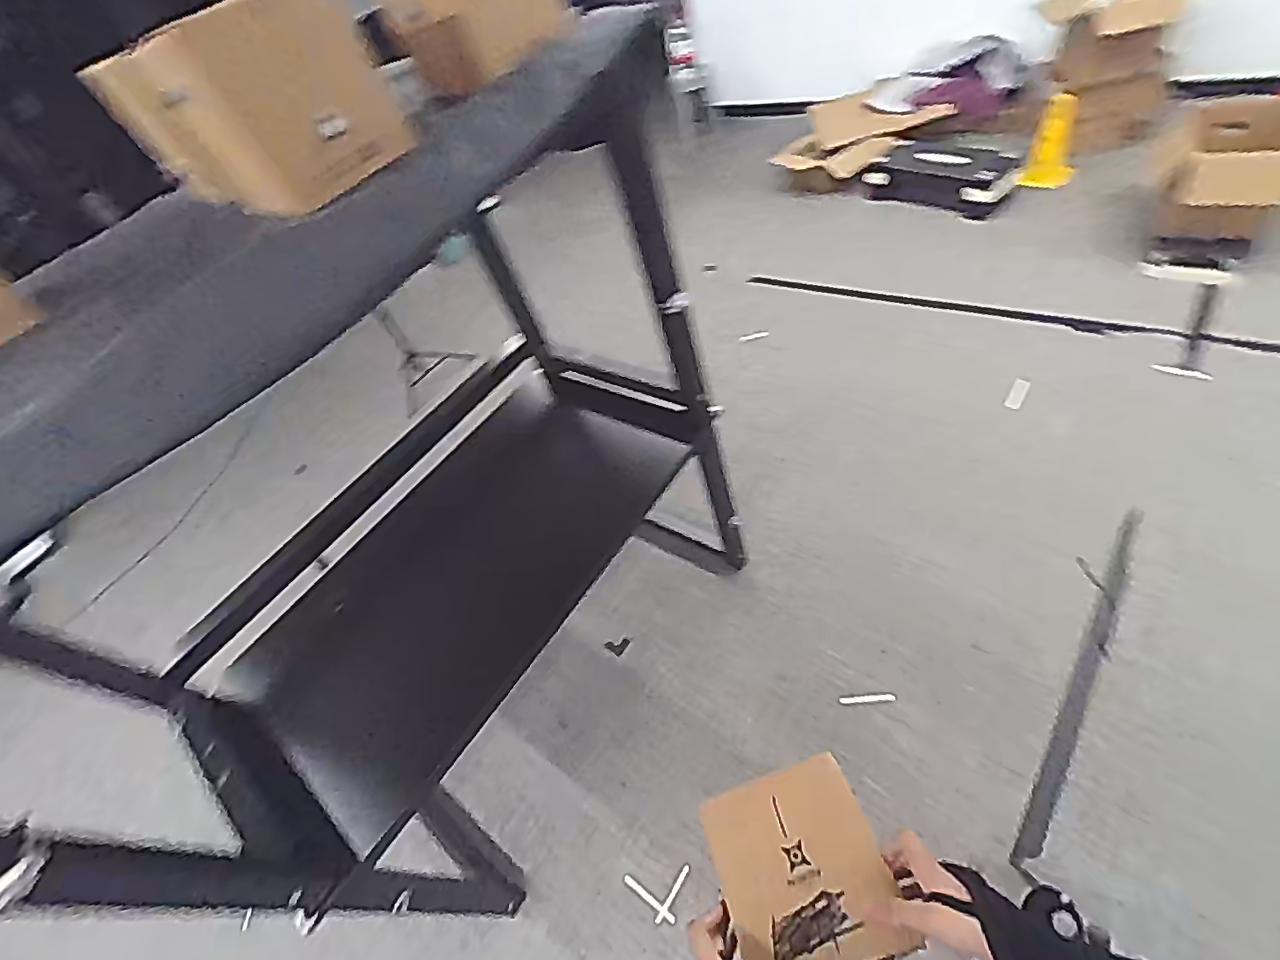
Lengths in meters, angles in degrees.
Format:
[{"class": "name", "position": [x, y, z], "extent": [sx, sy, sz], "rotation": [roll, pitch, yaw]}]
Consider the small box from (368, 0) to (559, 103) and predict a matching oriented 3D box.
[{"class": "small box", "position": [-0.244, -0.635, 0.729], "extent": [0.179, 0.176, 0.168], "rotation": [26, 65, 35]}]

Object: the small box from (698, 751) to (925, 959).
[{"class": "small box", "position": [0.180, 0.436, 0.600], "extent": [0.168, 0.176, 0.179], "rotation": [-20, 47, 0]}]

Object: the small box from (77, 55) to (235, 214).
[{"class": "small box", "position": [-0.598, -0.498, 0.747], "extent": [0.168, 0.176, 0.179], "rotation": [24, 63, 35]}]

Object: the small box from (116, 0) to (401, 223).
[{"class": "small box", "position": [-0.413, -0.409, 0.603], "extent": [0.179, 0.176, 0.168], "rotation": [24, 64, 35]}]
